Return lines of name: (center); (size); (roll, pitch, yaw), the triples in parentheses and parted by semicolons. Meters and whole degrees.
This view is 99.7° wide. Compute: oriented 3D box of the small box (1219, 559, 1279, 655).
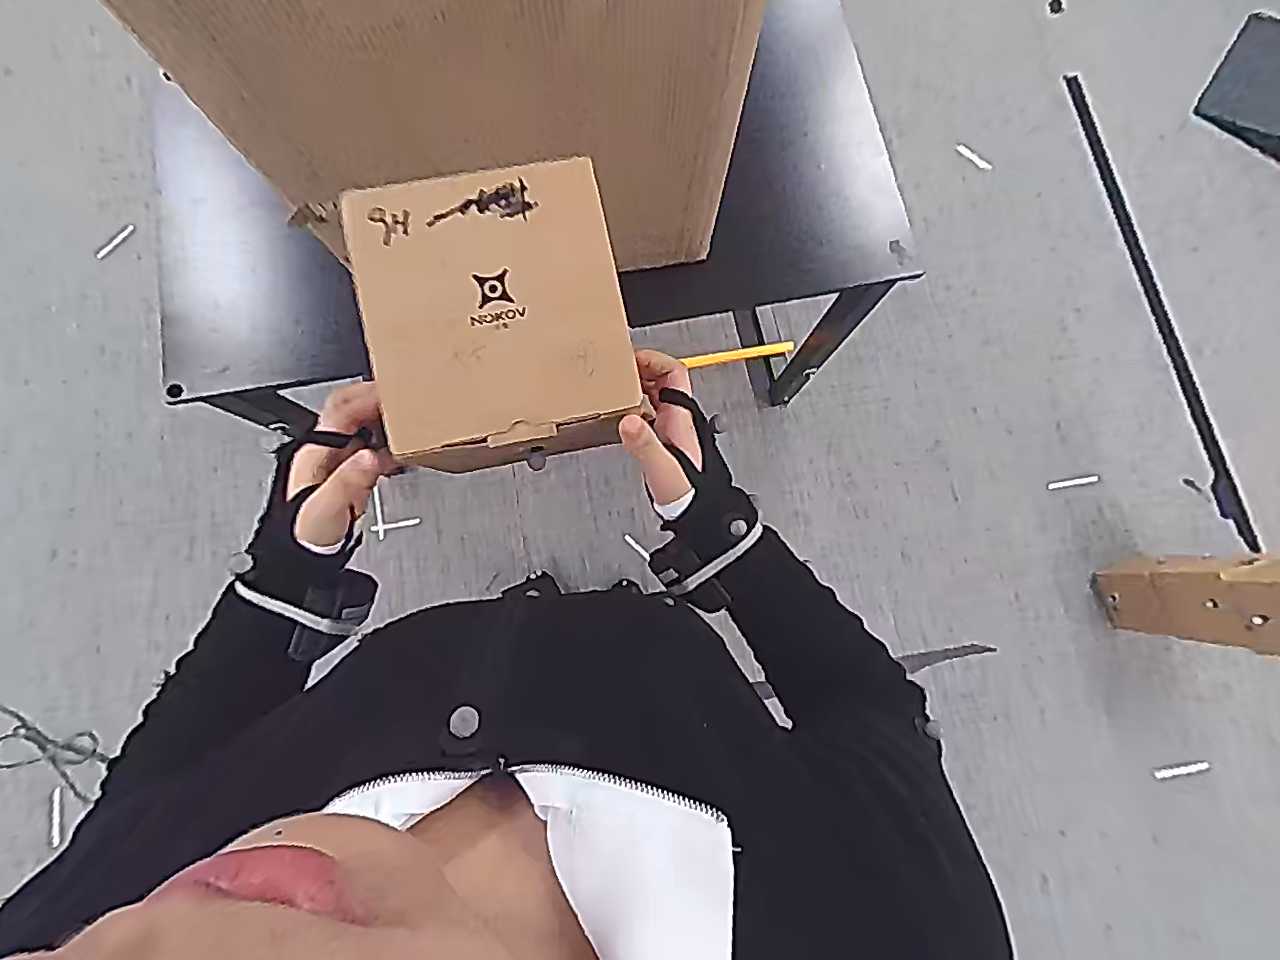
small box: (1.386, 0.259, 1.115); (0.179, 0.176, 0.168); (-18, 80, -4)

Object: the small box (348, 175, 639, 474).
small box: (-0.101, -0.103, 0.436); (0.168, 0.176, 0.179); (-12, 88, -6)

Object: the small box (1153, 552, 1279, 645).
small box: (1.386, 0.279, 1.279); (0.168, 0.176, 0.179); (-15, 81, -3)

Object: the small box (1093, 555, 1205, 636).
small box: (1.380, 0.303, 1.442); (0.179, 0.176, 0.168); (-17, 80, -3)
